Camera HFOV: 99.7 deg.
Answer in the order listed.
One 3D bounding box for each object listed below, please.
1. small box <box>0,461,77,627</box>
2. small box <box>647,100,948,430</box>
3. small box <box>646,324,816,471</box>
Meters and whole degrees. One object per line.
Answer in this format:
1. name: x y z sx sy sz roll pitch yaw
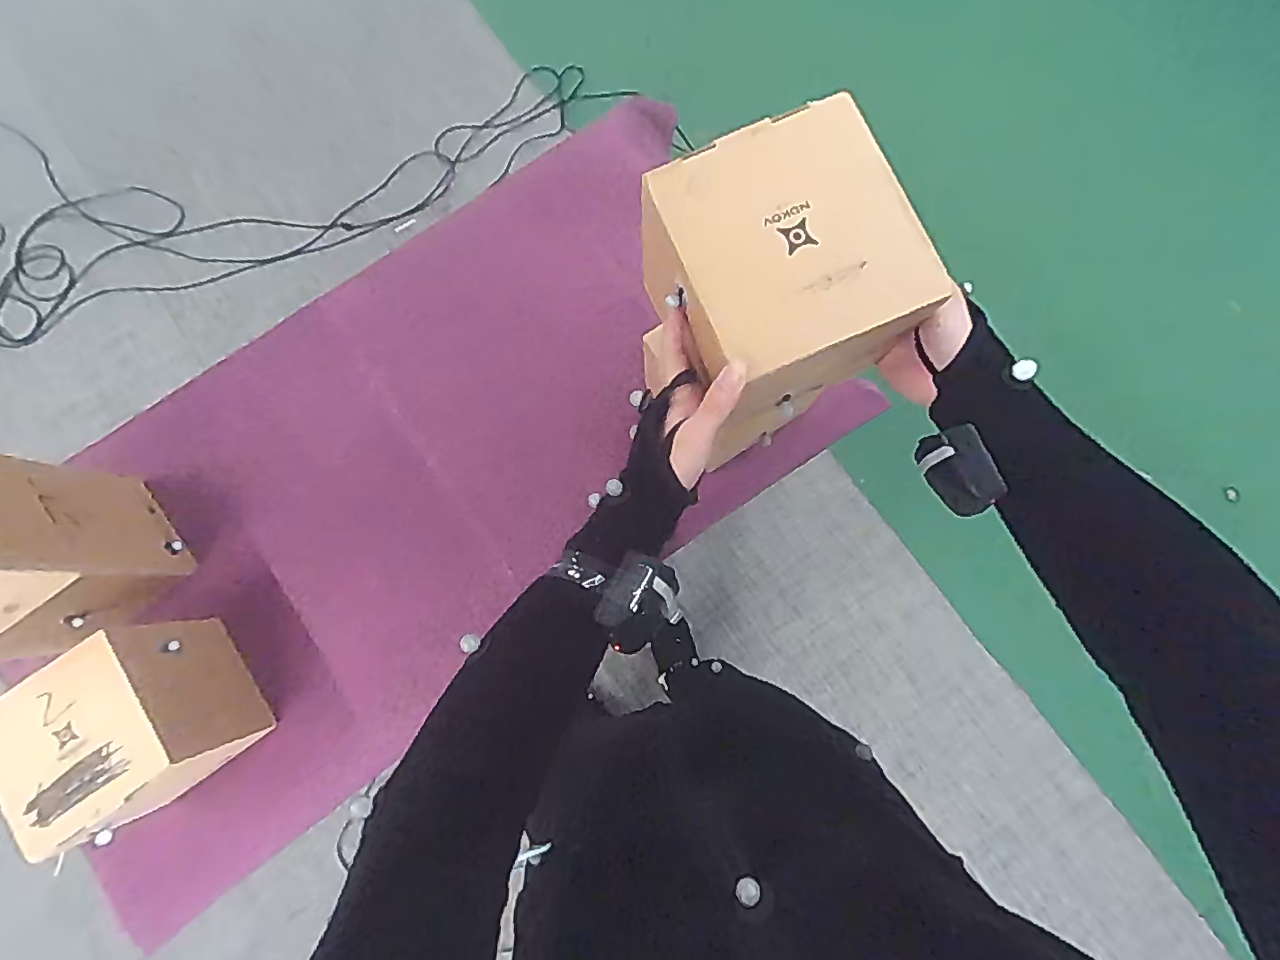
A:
1. small box: -0.731 0.073 0.527 0.168 0.176 0.179 -38 81 -6
2. small box: 0.112 -0.164 0.467 0.168 0.176 0.179 -23 83 -1
3. small box: 0.120 -0.135 0.723 0.179 0.176 0.168 -32 80 -5
